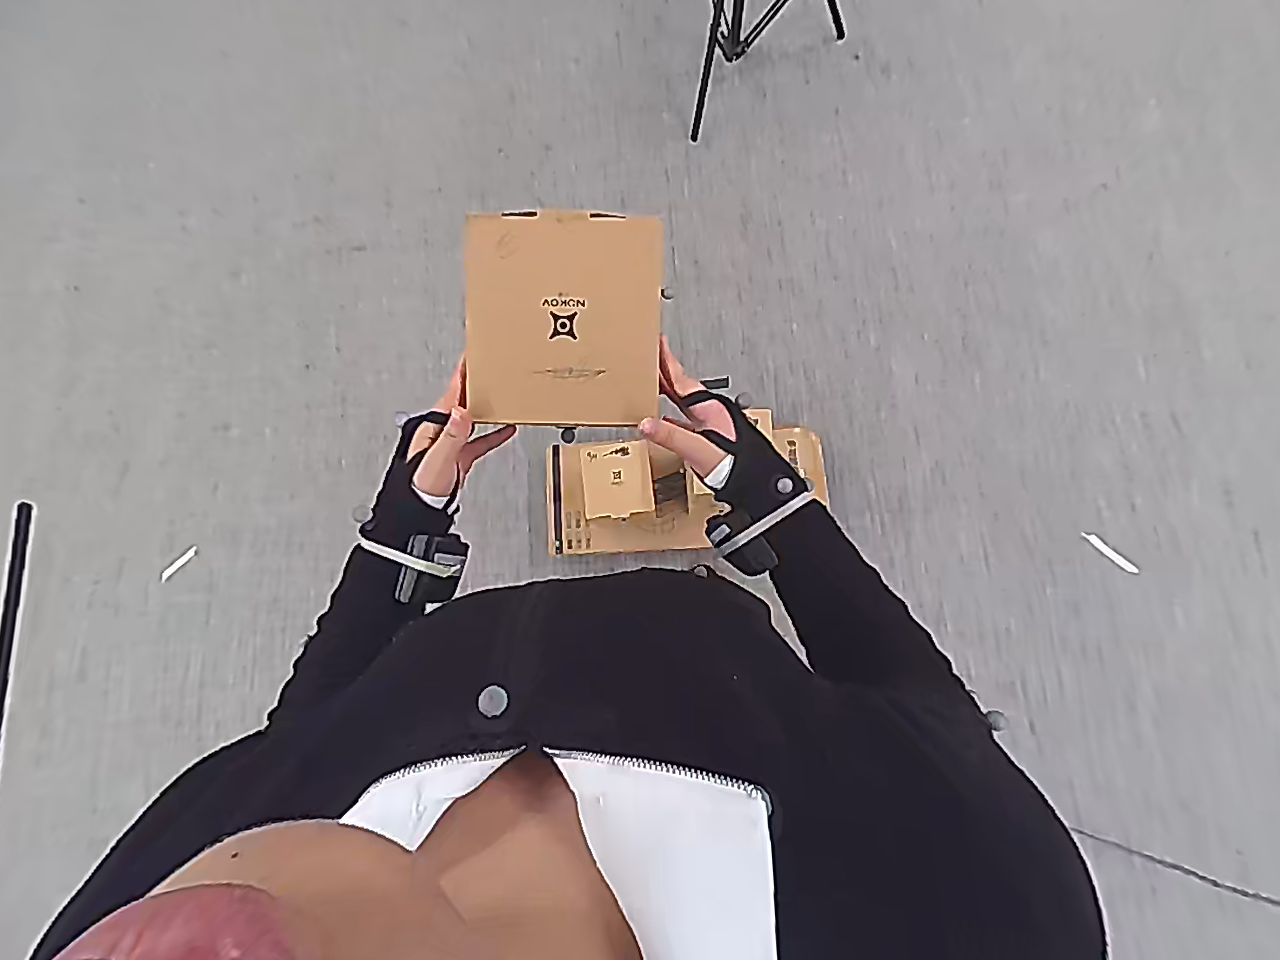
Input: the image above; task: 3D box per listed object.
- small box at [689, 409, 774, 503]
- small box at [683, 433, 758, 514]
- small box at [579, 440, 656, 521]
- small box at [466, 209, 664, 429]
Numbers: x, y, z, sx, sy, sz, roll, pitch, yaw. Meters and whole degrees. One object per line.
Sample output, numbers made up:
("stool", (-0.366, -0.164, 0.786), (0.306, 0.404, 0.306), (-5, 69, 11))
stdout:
("small box", (0.193, -0.047, 1.182), (0.168, 0.176, 0.179), (-1, 80, 4))
("small box", (0.195, -0.017, 1.344), (0.168, 0.176, 0.179), (-5, 80, 3))
("small box", (-0.052, 0.009, 1.355), (0.168, 0.176, 0.179), (-6, 81, 3))
("small box", (-0.066, -0.142, 0.535), (0.168, 0.176, 0.179), (1, 95, 0))
